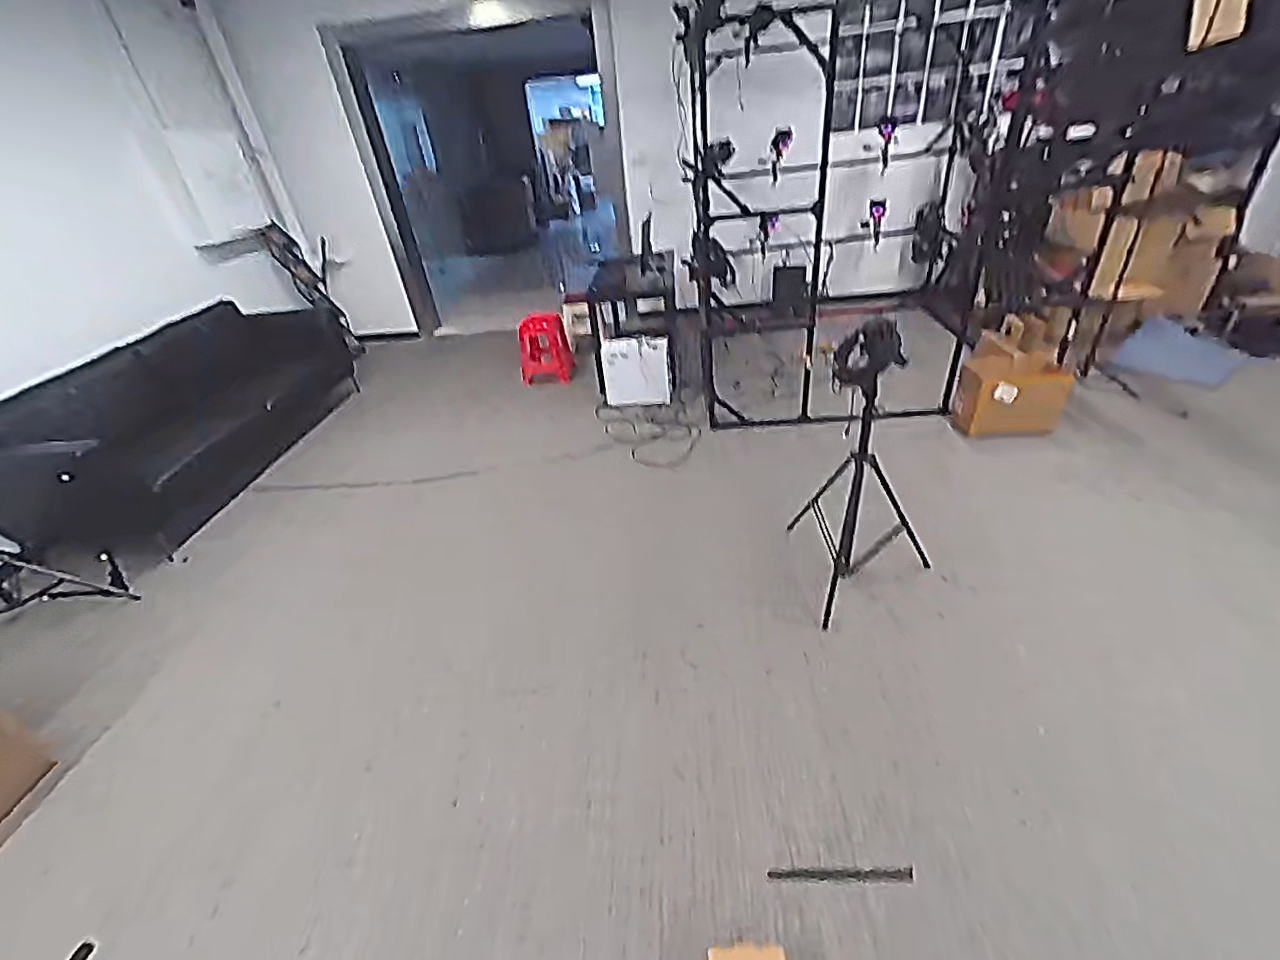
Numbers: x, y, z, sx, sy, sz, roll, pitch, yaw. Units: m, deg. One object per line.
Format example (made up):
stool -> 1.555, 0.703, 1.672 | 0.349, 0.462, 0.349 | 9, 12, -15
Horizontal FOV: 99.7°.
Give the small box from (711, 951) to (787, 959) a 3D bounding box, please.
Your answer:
small box -> 0.240, 1.143, 1.150 | 0.168, 0.176, 0.179 | -5, 34, 4
